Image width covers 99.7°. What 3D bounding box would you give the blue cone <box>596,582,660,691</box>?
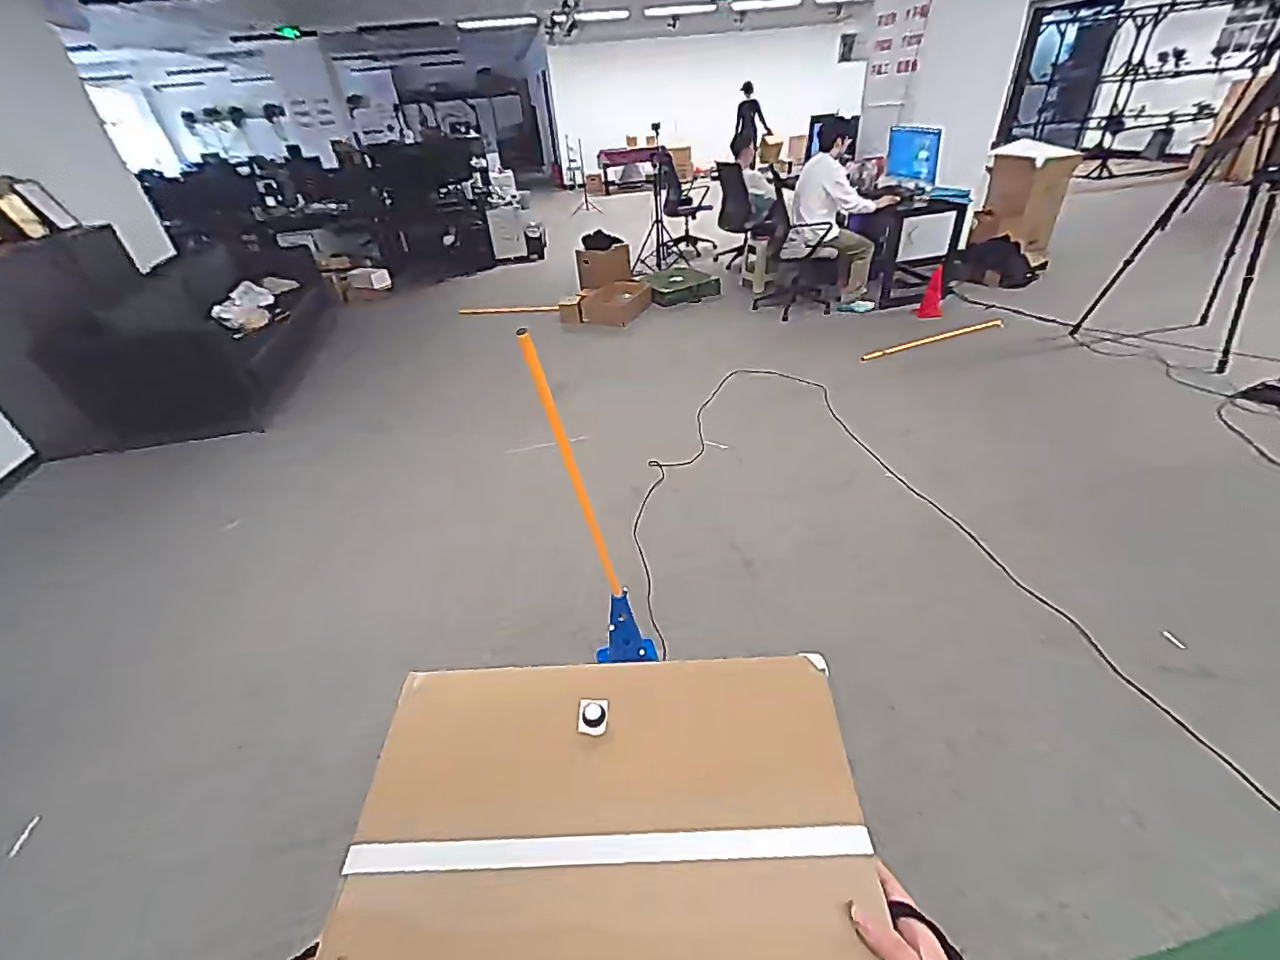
[{"bbox_3d":[-0.055,0.468,1.687,0.193,0.380,0.192,-14,36,-9],"label":"blue cone"}]
